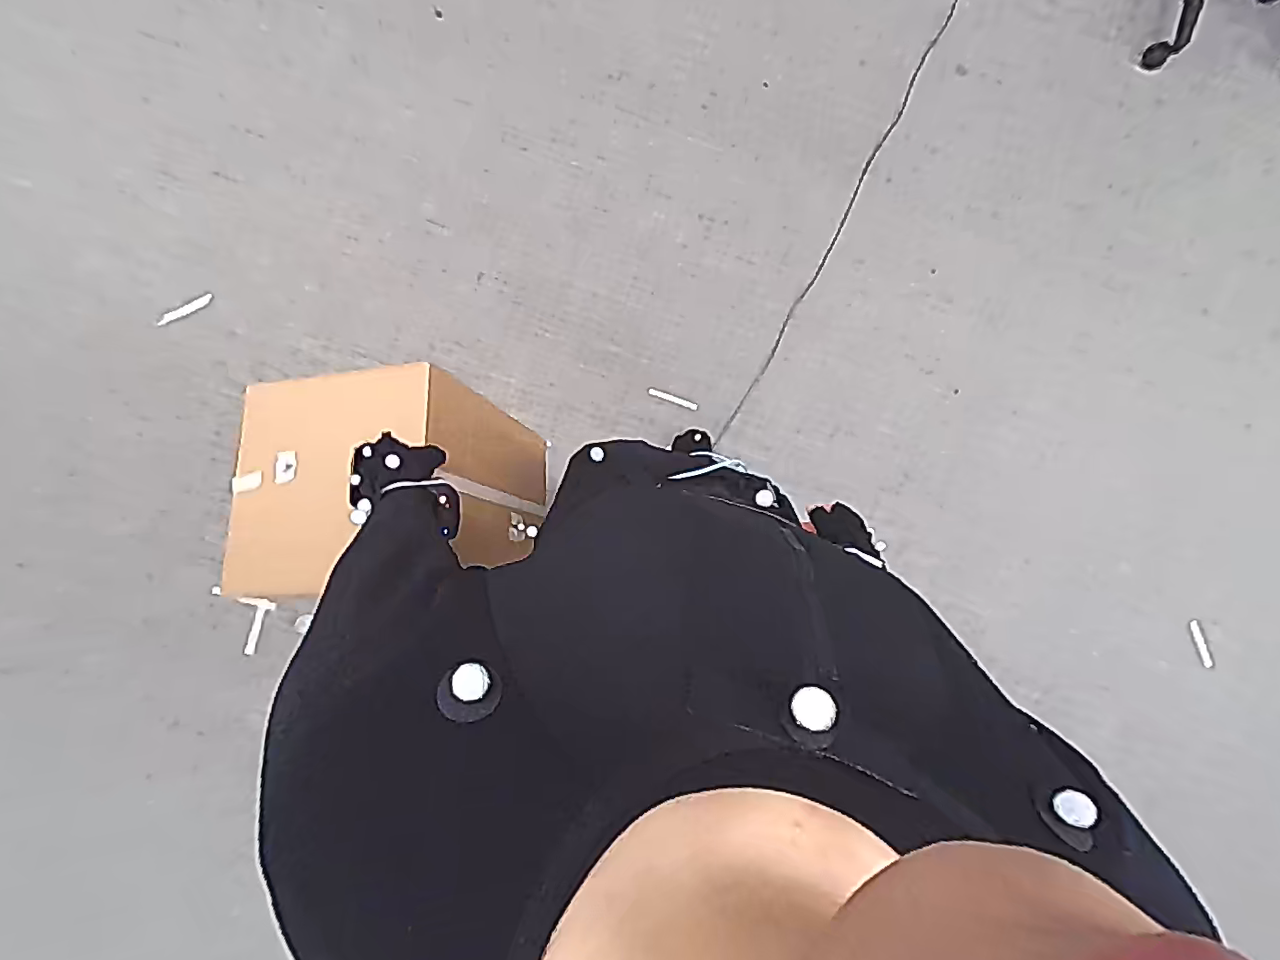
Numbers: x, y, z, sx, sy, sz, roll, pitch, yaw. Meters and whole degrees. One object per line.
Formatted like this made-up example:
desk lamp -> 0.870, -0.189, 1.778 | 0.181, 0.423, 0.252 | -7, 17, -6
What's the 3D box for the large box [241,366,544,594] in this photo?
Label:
large box -> -0.394, 0.032, 0.952 | 0.320, 0.408, 0.320 | -4, 78, 13
